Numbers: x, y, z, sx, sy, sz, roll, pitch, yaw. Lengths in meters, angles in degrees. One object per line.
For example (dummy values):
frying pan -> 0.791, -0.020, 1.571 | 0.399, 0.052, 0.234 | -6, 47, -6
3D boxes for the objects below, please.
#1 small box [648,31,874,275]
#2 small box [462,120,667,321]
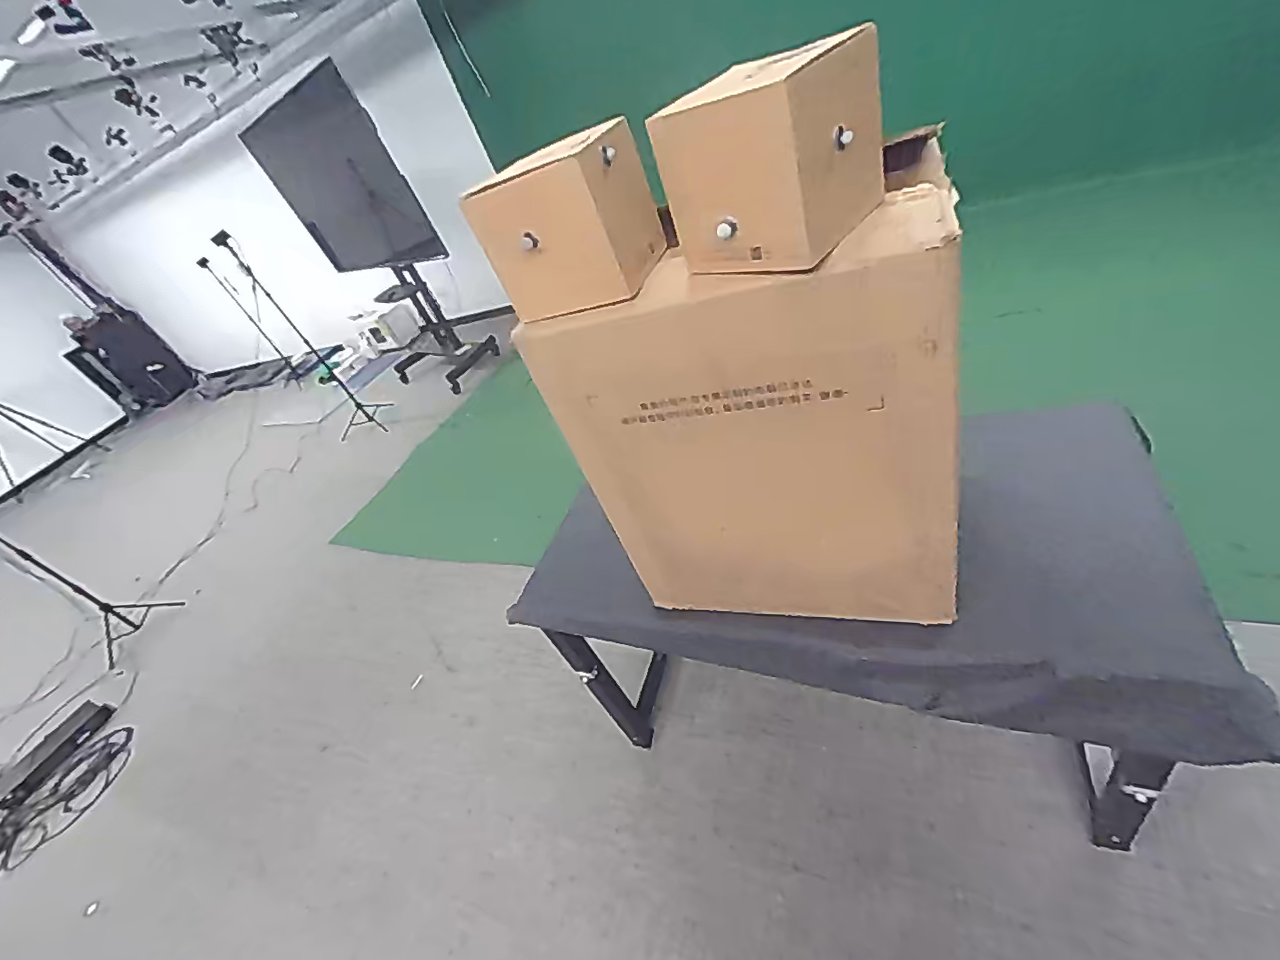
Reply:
small box -> 0.142, -0.345, 0.595 | 0.168, 0.176, 0.179 | 18, 55, 43
small box -> -0.088, -0.332, 0.715 | 0.179, 0.176, 0.168 | -5, 42, 29
